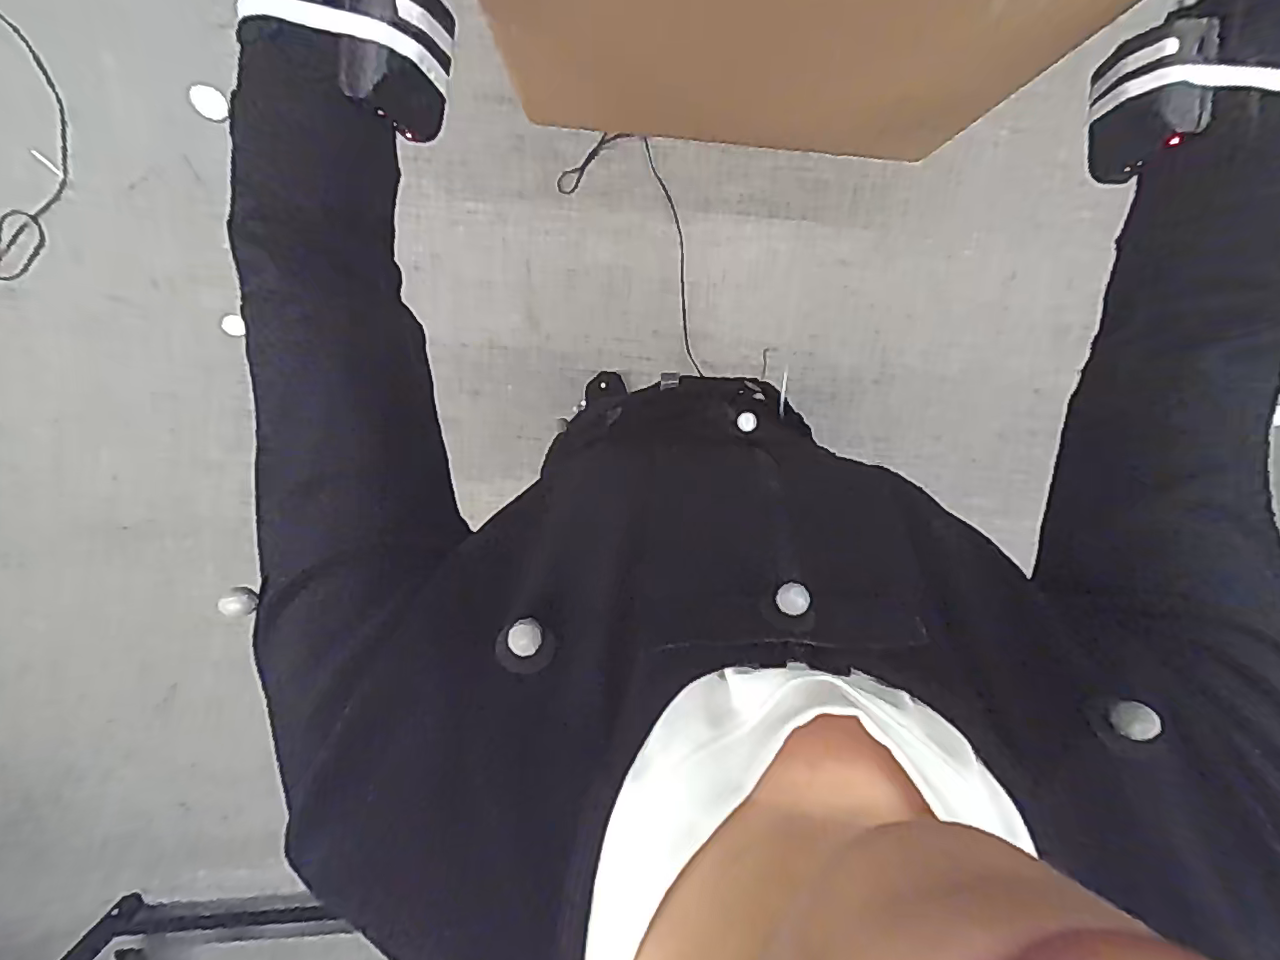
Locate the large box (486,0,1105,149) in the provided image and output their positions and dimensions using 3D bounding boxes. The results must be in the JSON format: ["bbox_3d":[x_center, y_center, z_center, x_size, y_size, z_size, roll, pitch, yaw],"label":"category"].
[{"bbox_3d":[0.098,-0.464,0.370,0.408,0.320,0.320,4,102,-2],"label":"large box"}]
